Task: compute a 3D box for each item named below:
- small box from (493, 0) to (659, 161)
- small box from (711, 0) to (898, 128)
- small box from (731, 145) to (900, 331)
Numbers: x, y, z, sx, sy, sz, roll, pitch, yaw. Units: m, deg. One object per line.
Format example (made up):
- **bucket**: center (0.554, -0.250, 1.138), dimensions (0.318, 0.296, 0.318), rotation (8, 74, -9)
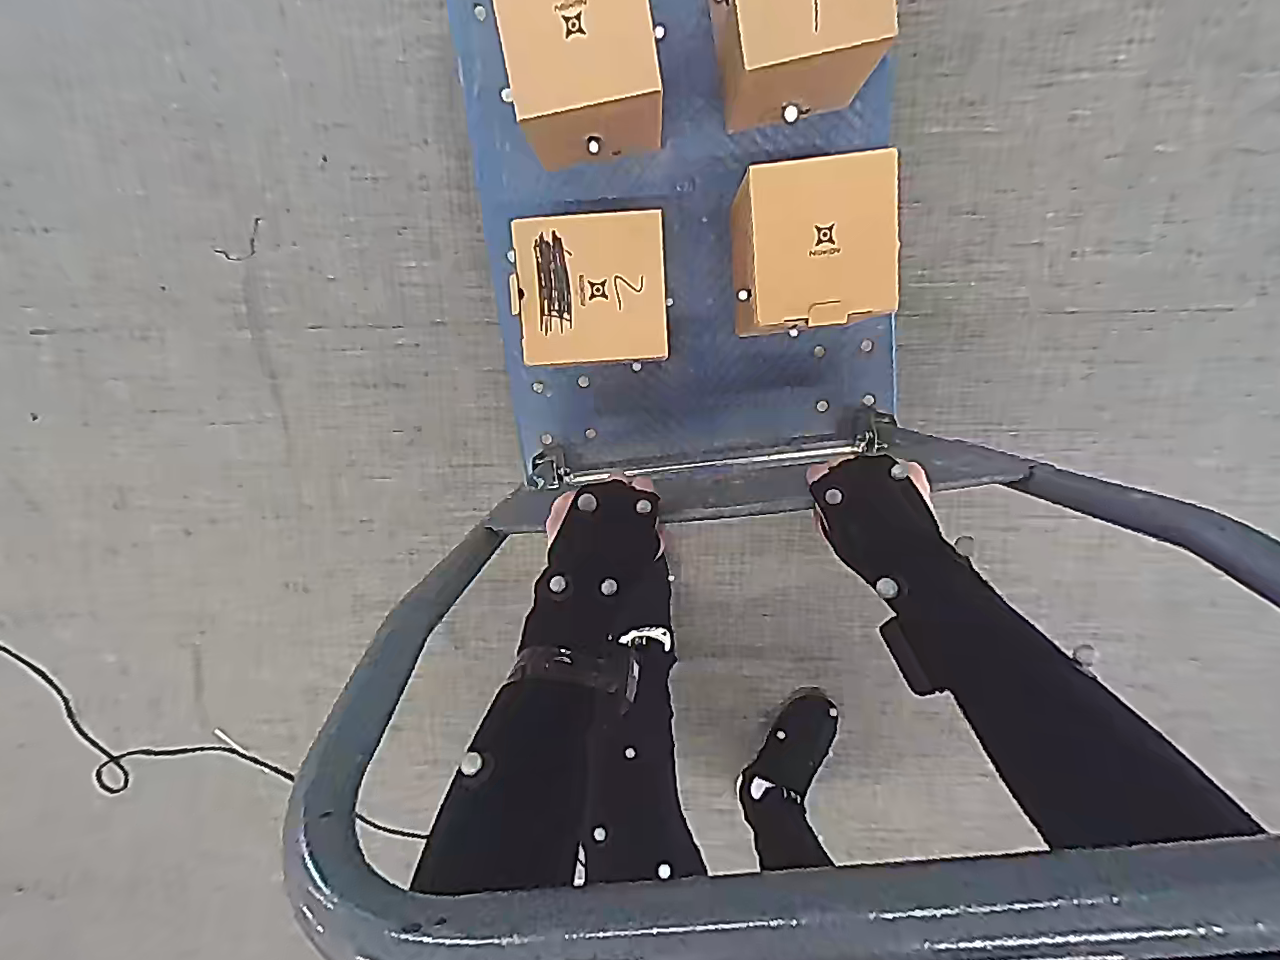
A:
- **small box**: center (-0.069, -0.511, 0.652), dimensions (0.168, 0.176, 0.179), rotation (-10, 101, 3)
- **small box**: center (0.180, -0.555, 0.634), dimensions (0.168, 0.176, 0.179), rotation (-10, 102, 5)
- **small box**: center (0.212, -0.293, 0.689), dimensions (0.168, 0.176, 0.179), rotation (-5, 102, 3)
